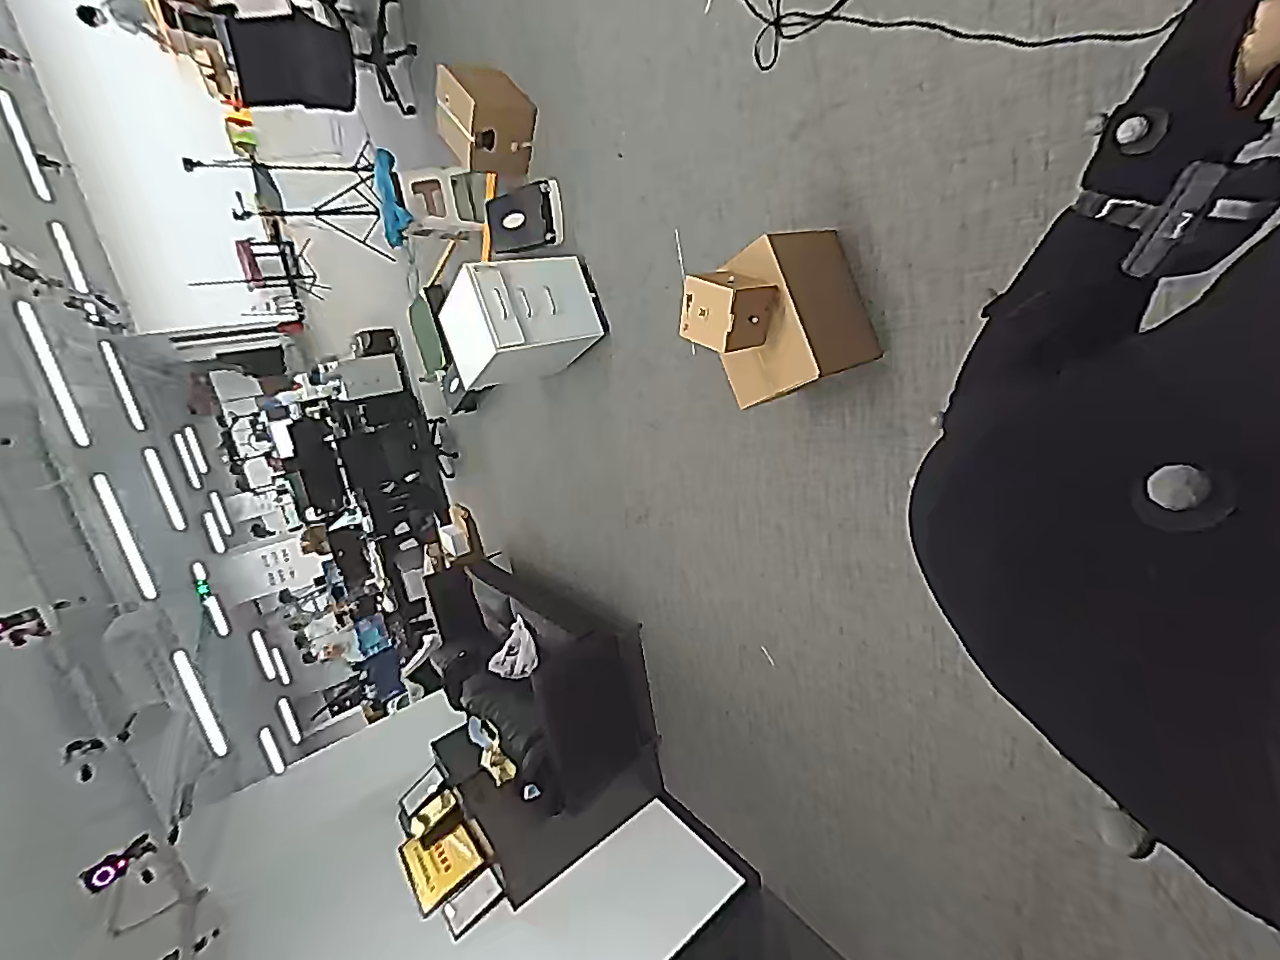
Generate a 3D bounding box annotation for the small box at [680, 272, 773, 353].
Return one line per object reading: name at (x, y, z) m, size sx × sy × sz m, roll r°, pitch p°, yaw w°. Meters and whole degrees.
small box at (0.235, -0.464, 1.472) m, size 0.179 × 0.176 × 0.168 m, roll 35°, pitch 132°, yaw 38°
